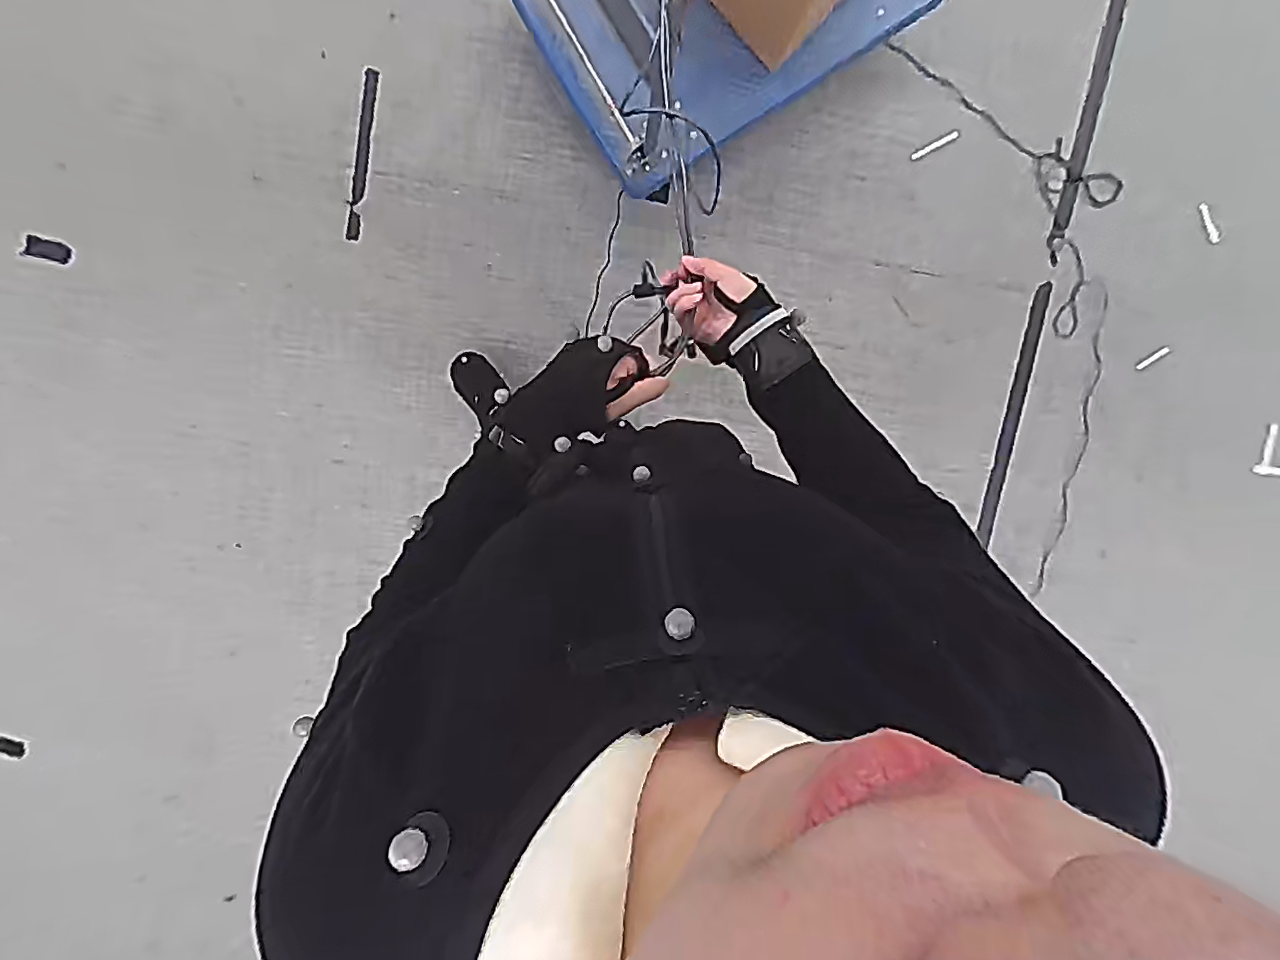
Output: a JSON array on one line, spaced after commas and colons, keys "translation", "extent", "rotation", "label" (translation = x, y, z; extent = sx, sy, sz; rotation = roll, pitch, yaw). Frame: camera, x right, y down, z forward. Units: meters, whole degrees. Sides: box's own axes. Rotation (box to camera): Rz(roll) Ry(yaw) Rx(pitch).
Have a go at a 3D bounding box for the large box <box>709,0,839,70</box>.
[{"translation": [0.266, -1.128, 1.024], "extent": [0.408, 0.320, 0.320], "rotation": [43, 93, -10], "label": "large box"}]
